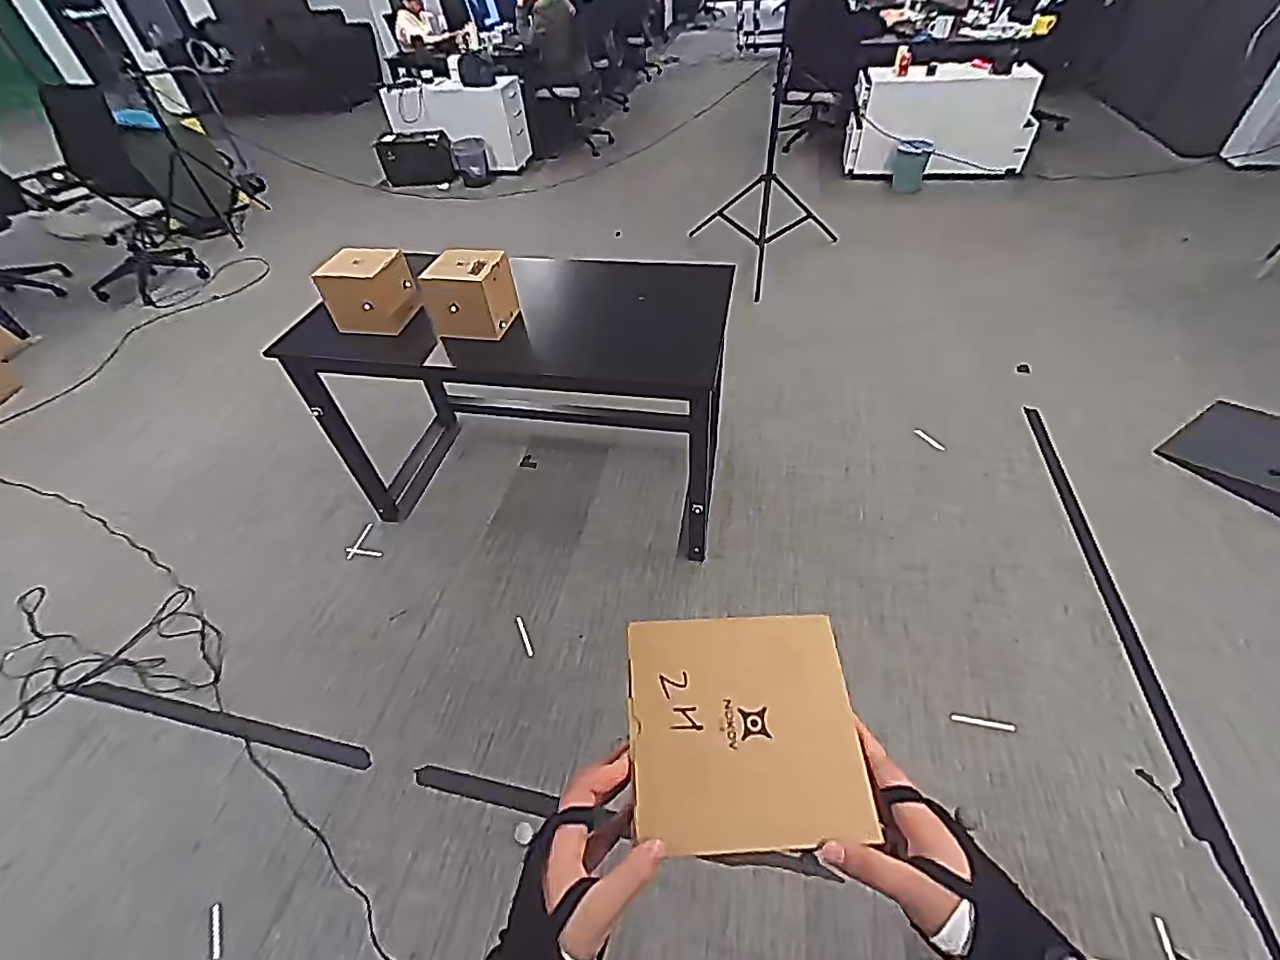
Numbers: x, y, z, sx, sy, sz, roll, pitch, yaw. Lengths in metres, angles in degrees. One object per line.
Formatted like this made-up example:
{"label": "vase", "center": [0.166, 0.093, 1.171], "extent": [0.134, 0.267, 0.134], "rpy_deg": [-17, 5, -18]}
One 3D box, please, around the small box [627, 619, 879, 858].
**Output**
{"label": "small box", "center": [0.078, 0.232, 0.485], "extent": [0.179, 0.176, 0.168], "rpy_deg": [-2, 57, -2]}

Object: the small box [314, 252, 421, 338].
{"label": "small box", "center": [-0.733, -0.504, 1.480], "extent": [0.179, 0.176, 0.168], "rpy_deg": [4, 46, 9]}

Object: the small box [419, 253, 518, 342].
{"label": "small box", "center": [-0.442, -0.482, 1.433], "extent": [0.179, 0.176, 0.168], "rpy_deg": [6, 47, 11]}
